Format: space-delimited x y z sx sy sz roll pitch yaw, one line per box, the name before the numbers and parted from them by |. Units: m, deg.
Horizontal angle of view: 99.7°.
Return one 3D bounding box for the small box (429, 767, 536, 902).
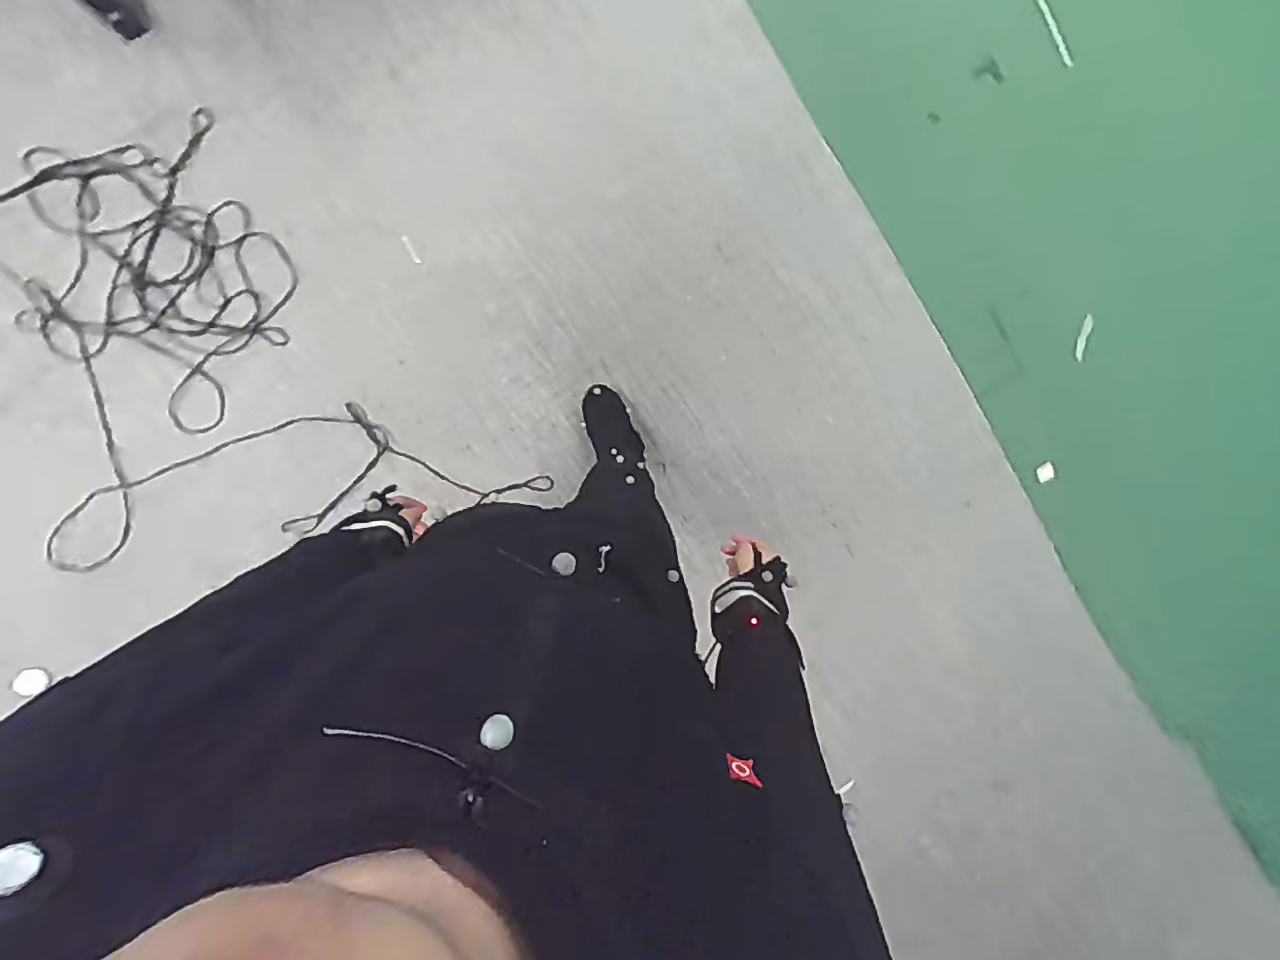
small box | -0.372 0.850 1.313 0.168 0.176 0.179 -35 96 -1
